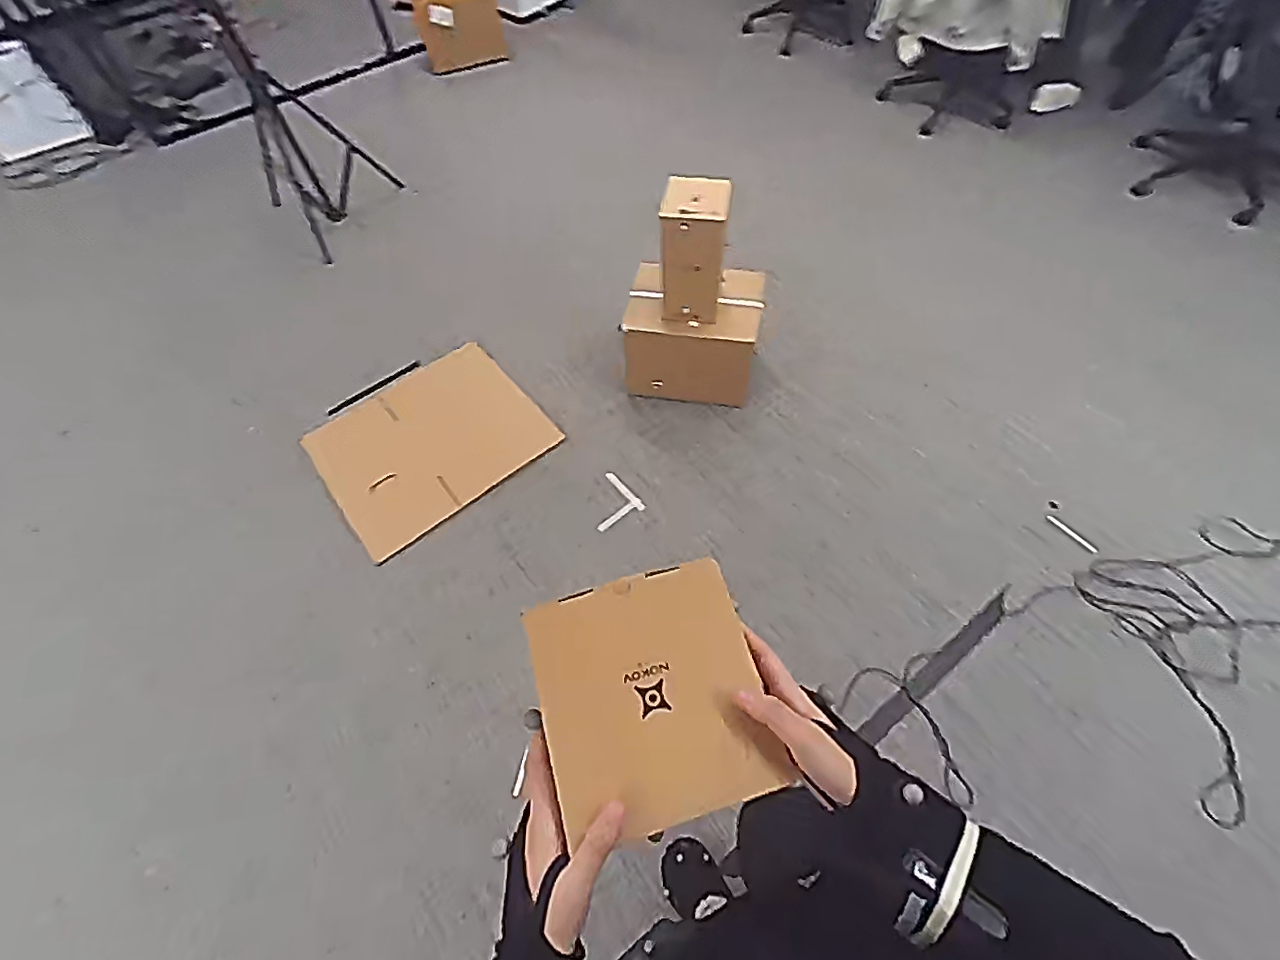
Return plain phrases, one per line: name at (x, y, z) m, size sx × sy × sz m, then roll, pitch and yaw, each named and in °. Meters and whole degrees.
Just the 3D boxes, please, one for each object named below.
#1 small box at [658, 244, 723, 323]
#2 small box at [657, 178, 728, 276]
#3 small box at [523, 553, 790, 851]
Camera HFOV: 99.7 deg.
small box at (0.147, -0.589, 1.587) m, size 0.168 × 0.176 × 0.179 m, roll 7°, pitch 60°, yaw 8°
small box at (0.139, -0.676, 1.448) m, size 0.168 × 0.176 × 0.179 m, roll 7°, pitch 59°, yaw 8°
small box at (0.006, 0.188, 0.476) m, size 0.168 × 0.176 × 0.179 m, roll -14°, pitch 64°, yaw -9°
